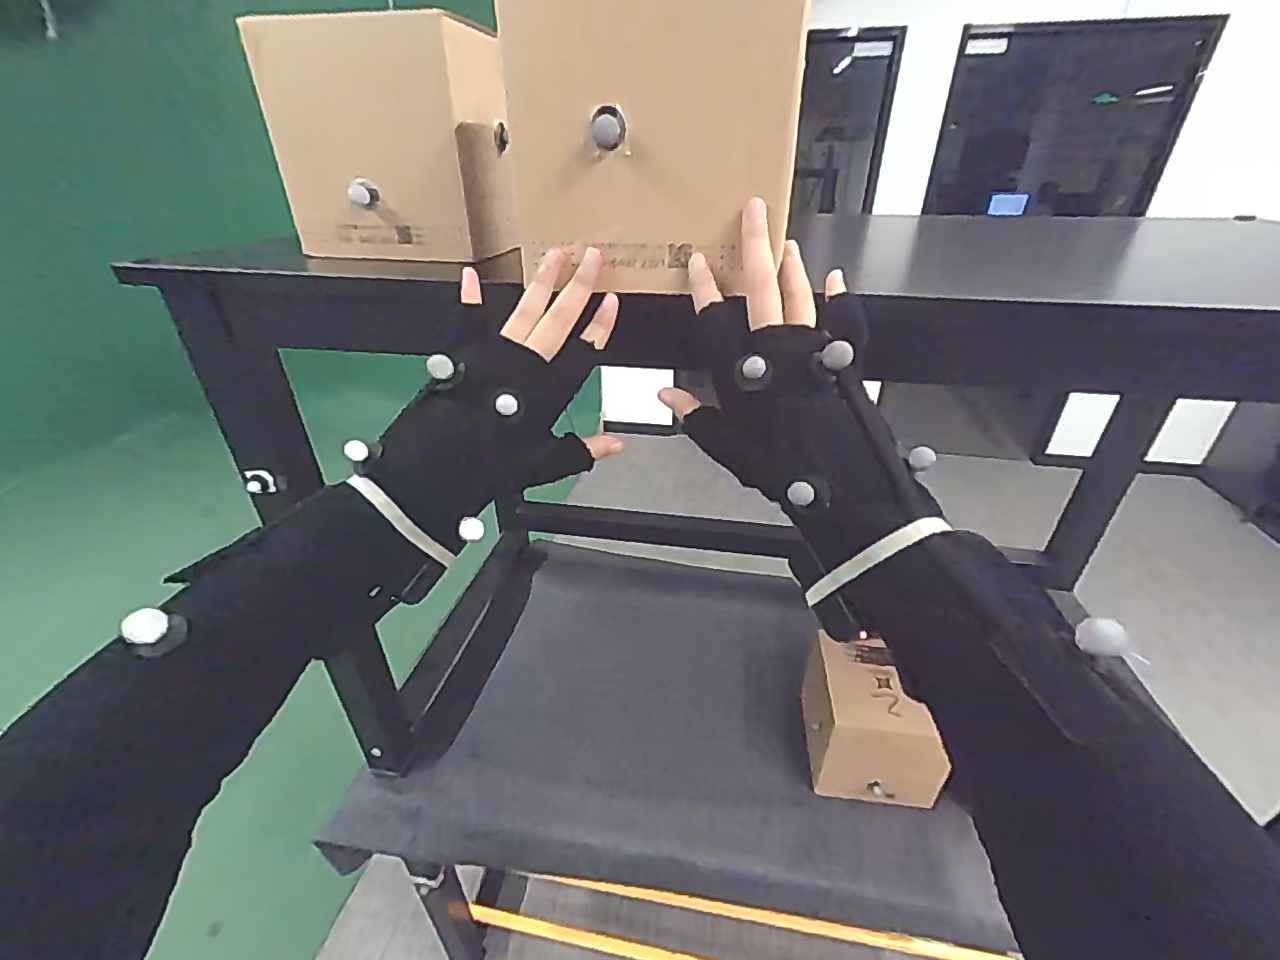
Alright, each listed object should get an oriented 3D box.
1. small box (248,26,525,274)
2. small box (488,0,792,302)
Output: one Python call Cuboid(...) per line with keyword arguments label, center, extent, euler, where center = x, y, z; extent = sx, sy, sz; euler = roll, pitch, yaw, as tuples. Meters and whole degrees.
Cuboid(label="small box", center=(-0.204, -0.300, 0.507), extent=(0.168, 0.176, 0.179), euler=(5, 32, 10))
Cuboid(label="small box", center=(0.011, -0.230, 0.389), extent=(0.168, 0.176, 0.179), euler=(4, 30, 7))
